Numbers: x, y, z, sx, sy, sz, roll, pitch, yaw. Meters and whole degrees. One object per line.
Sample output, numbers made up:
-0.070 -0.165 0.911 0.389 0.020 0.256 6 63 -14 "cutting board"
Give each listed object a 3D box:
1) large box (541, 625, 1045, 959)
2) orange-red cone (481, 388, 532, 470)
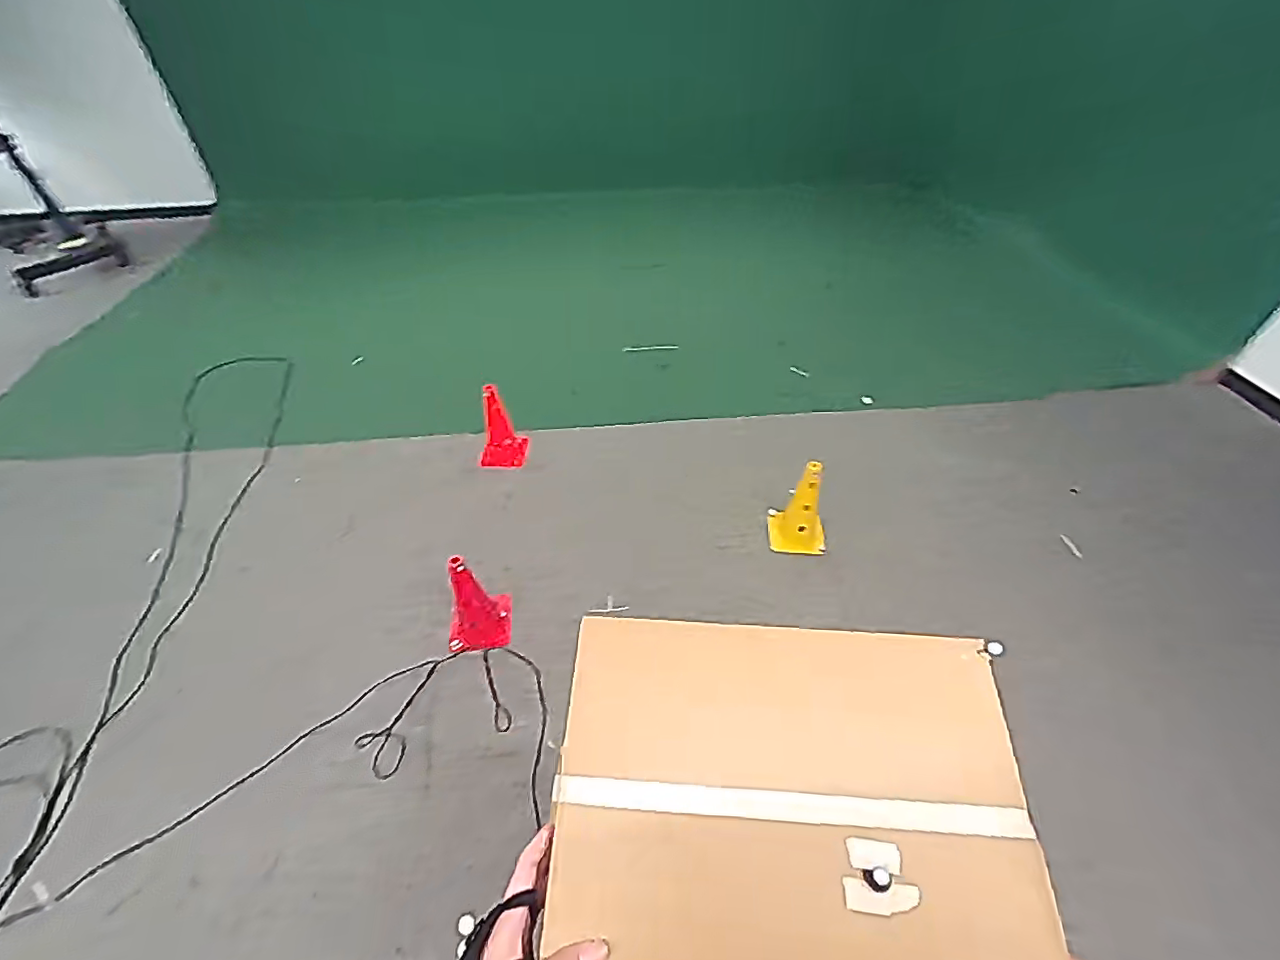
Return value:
0.125 0.366 0.607 0.408 0.320 0.320 2 59 3 "large box"
-0.606 -0.234 2.314 0.199 0.360 0.198 1 44 4 "orange-red cone"
